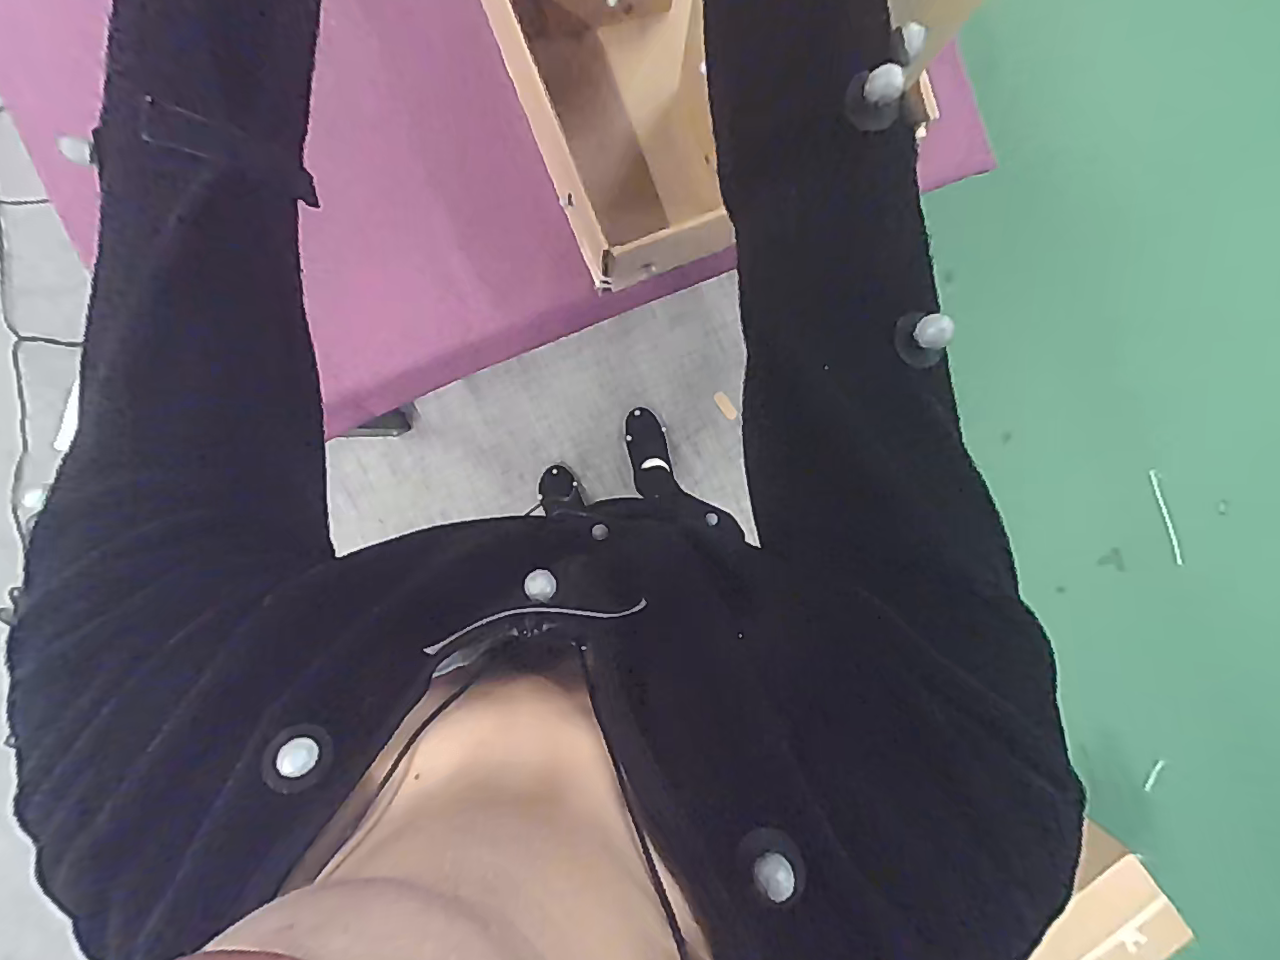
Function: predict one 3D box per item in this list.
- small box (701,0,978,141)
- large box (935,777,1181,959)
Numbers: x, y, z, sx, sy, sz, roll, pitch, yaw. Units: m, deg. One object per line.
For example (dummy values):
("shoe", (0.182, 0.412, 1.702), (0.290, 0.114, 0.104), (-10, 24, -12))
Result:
("small box", (0.166, -0.434, 0.459), (0.179, 0.176, 0.168), (-20, 96, 1))
("large box", (1.162, 1.168, 1.544), (0.408, 0.320, 0.320), (-38, 97, -1))
